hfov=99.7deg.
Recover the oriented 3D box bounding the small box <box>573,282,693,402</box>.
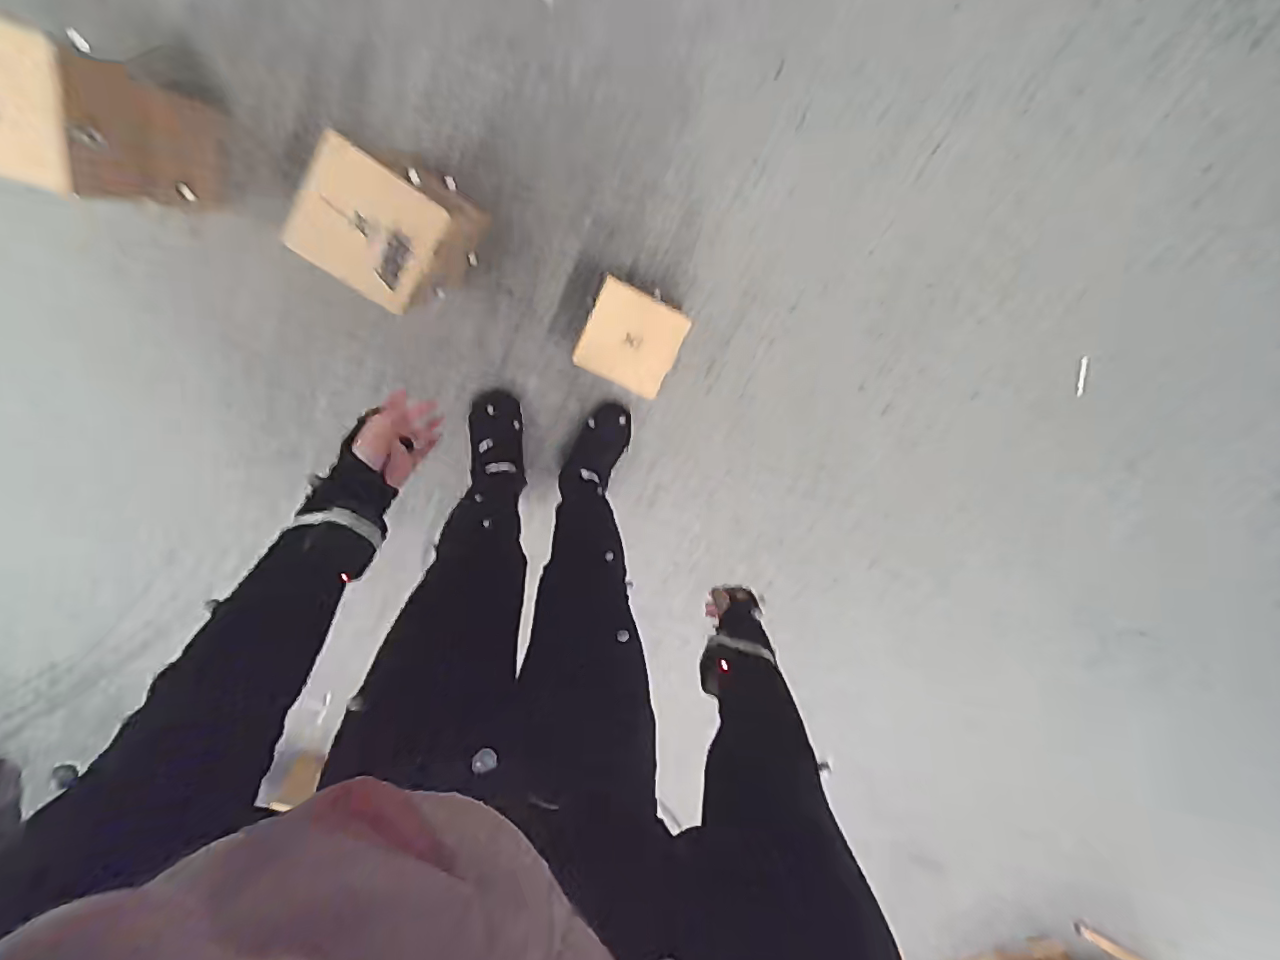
[{"bbox_3d":[-0.020,-0.281,1.077,0.179,0.176,0.168,23,110,-15],"label":"small box"}]

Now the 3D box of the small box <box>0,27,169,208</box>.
[{"bbox_3d":[-0.789,-0.489,0.738,0.168,0.176,0.179,14,111,-11],"label":"small box"}]

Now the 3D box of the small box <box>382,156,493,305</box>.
[{"bbox_3d":[-0.384,-0.444,0.972,0.179,0.176,0.168,31,107,-17],"label":"small box"}]

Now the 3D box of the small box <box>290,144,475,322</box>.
[{"bbox_3d":[-0.376,-0.370,0.824,0.179,0.176,0.168,32,108,-16],"label":"small box"}]
